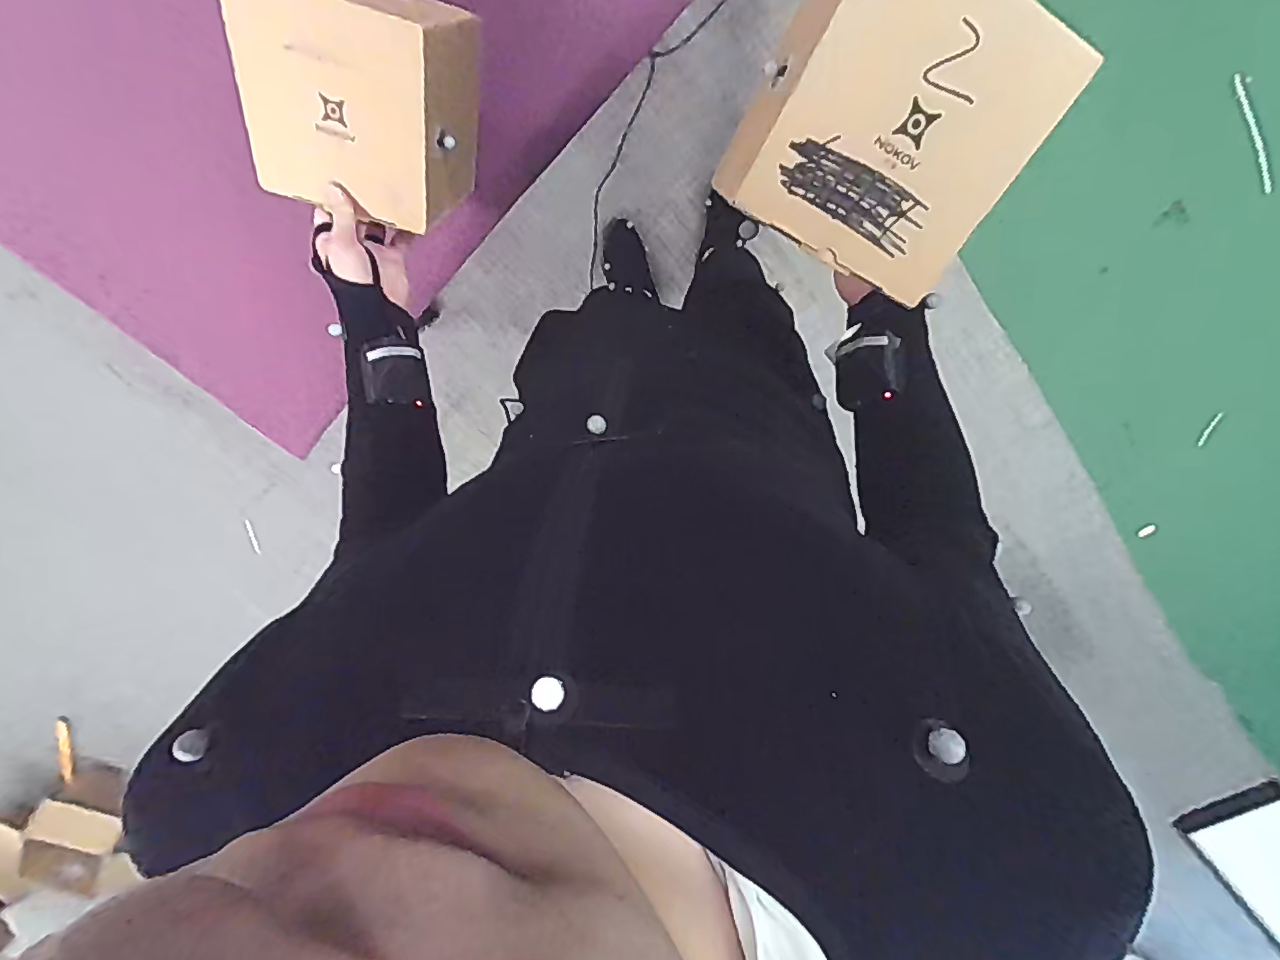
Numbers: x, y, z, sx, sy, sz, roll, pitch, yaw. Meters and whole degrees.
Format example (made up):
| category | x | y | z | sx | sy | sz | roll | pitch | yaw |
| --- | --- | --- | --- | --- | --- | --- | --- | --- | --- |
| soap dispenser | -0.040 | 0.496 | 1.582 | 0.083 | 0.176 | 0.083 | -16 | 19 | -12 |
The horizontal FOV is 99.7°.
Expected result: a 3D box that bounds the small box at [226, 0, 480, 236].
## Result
| category | x | y | z | sx | sy | sz | roll | pitch | yaw |
| --- | --- | --- | --- | --- | --- | --- | --- | --- | --- |
| small box | -0.270 | -0.386 | 0.552 | 0.168 | 0.176 | 0.179 | 14 | 133 | -8 |
